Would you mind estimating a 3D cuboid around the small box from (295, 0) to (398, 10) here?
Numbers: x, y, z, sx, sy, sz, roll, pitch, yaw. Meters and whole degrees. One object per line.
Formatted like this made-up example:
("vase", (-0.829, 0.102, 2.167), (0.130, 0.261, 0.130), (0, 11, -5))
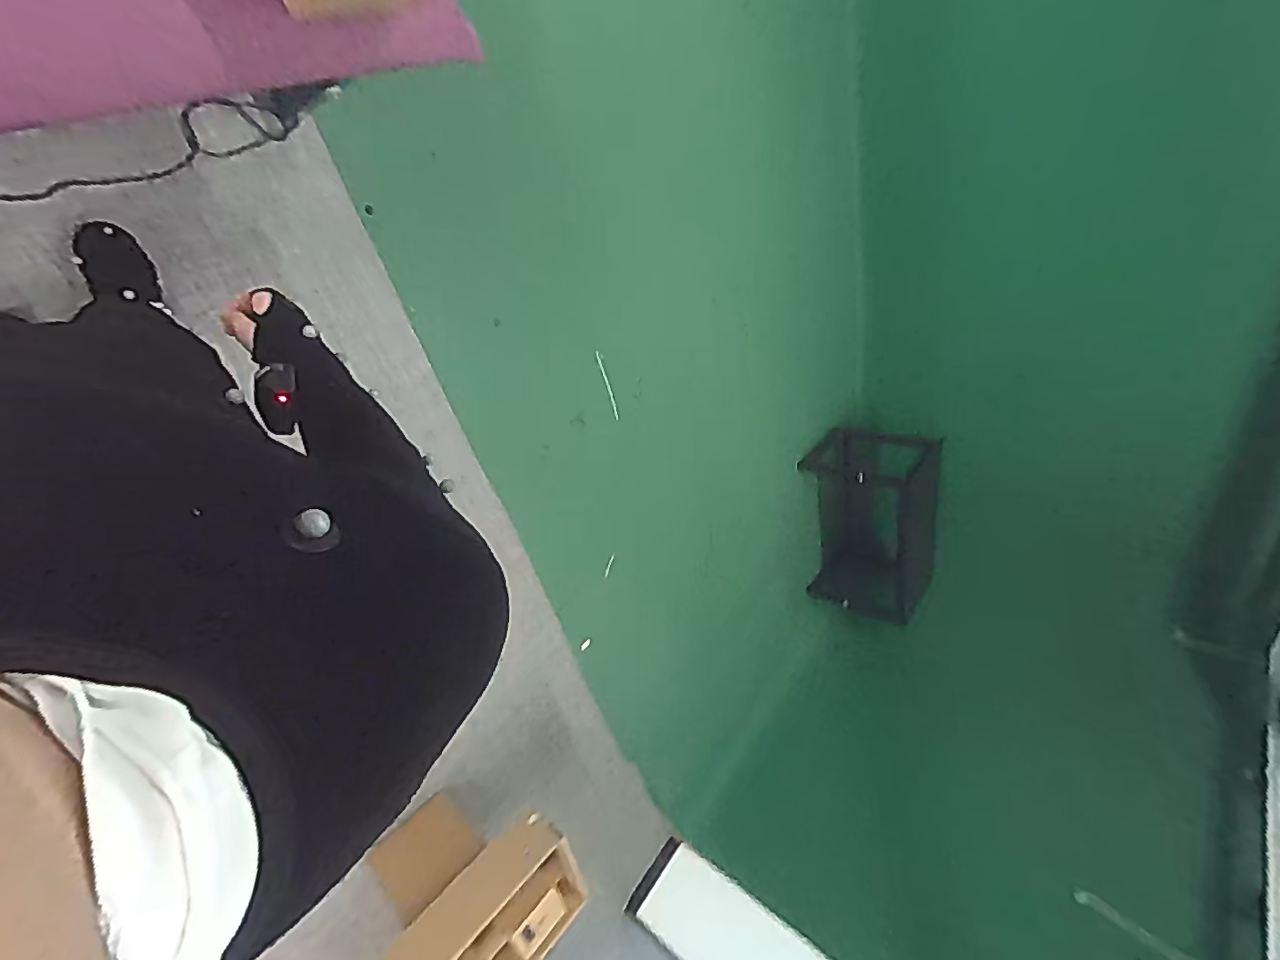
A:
("small box", (-0.369, -0.713, 0.654), (0.168, 0.176, 0.179), (-38, 128, -31))
